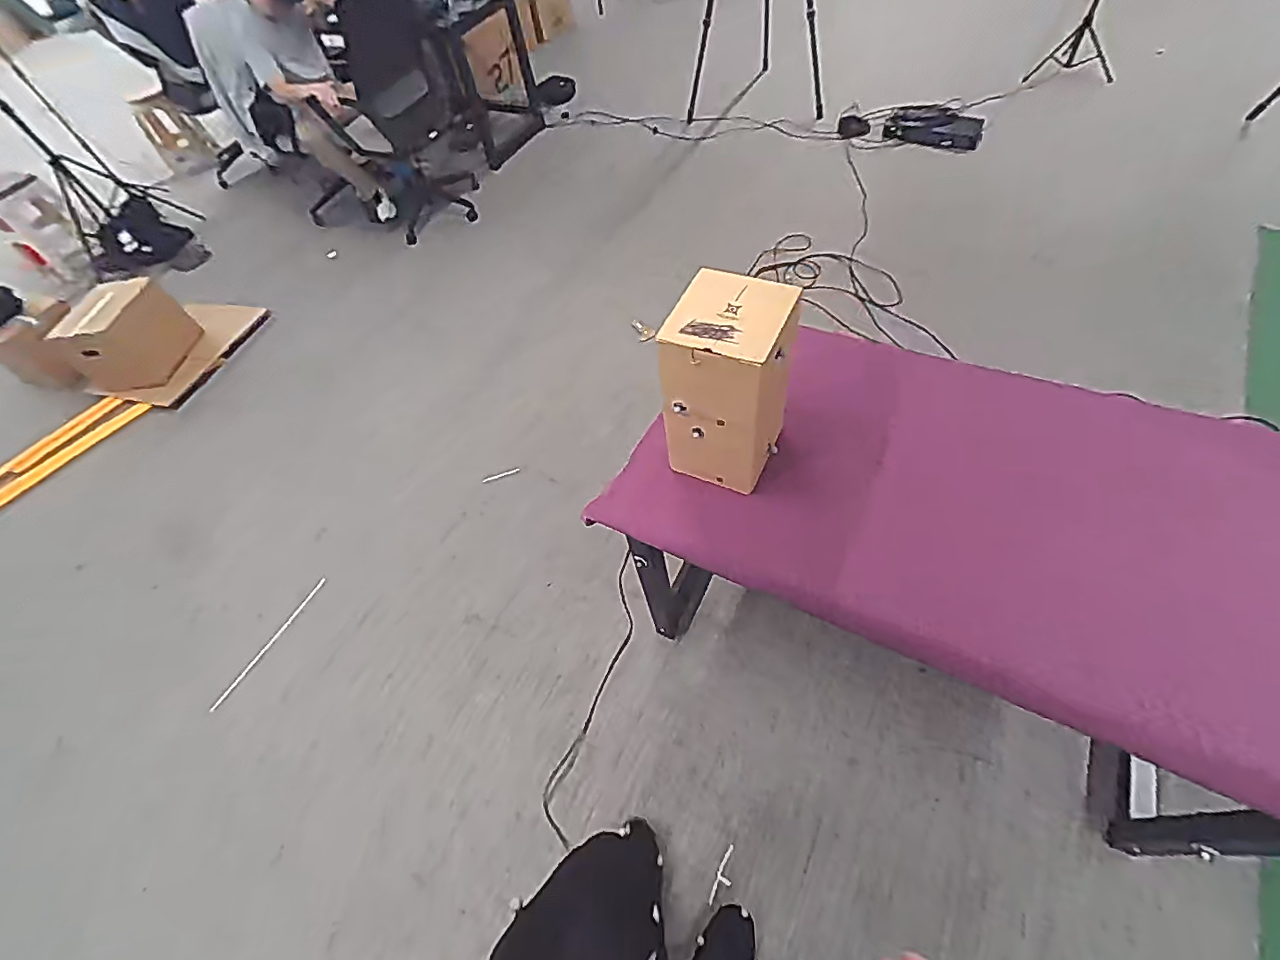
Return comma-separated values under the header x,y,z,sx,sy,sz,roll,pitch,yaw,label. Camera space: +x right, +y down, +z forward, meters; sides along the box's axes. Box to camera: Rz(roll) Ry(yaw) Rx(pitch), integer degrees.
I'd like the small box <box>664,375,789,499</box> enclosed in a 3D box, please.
x,y,z,sx,sy,sz,roll,pitch,yaw,label
0.158,-0.097,0.991,0.168,0.176,0.179,19,60,21,small box

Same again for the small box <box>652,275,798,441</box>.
x,y,z,sx,sy,sz,roll,pitch,yaw,label
0.138,-0.190,0.856,0.168,0.176,0.179,20,60,21,small box
